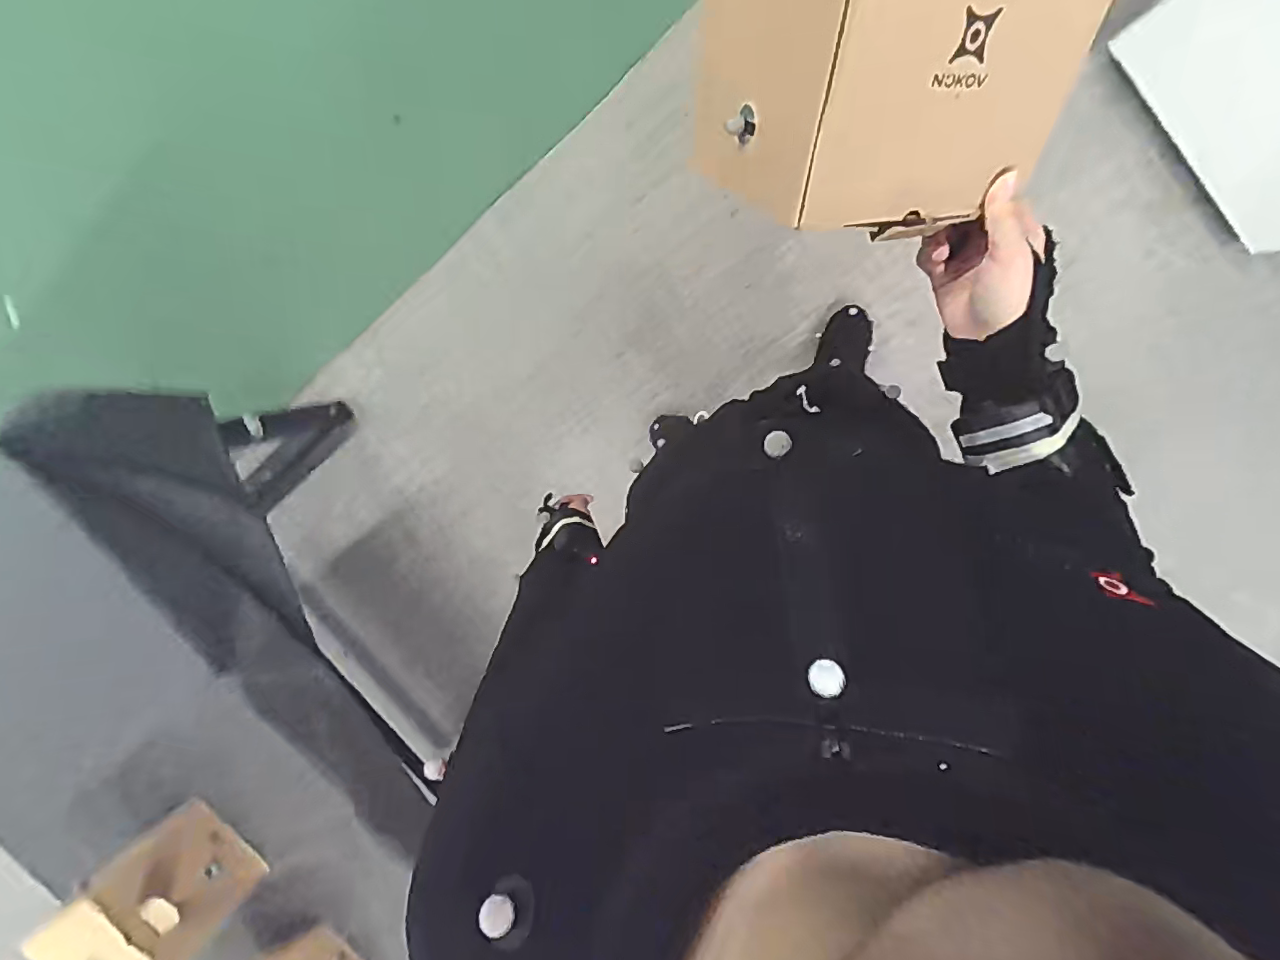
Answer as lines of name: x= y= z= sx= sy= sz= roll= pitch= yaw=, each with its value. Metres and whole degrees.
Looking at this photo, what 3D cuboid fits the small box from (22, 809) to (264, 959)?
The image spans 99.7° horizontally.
small box: x=-0.717 y=0.640 z=0.800 sx=0.179 sy=0.176 sz=0.168 roll=-37 pitch=96 yaw=14
